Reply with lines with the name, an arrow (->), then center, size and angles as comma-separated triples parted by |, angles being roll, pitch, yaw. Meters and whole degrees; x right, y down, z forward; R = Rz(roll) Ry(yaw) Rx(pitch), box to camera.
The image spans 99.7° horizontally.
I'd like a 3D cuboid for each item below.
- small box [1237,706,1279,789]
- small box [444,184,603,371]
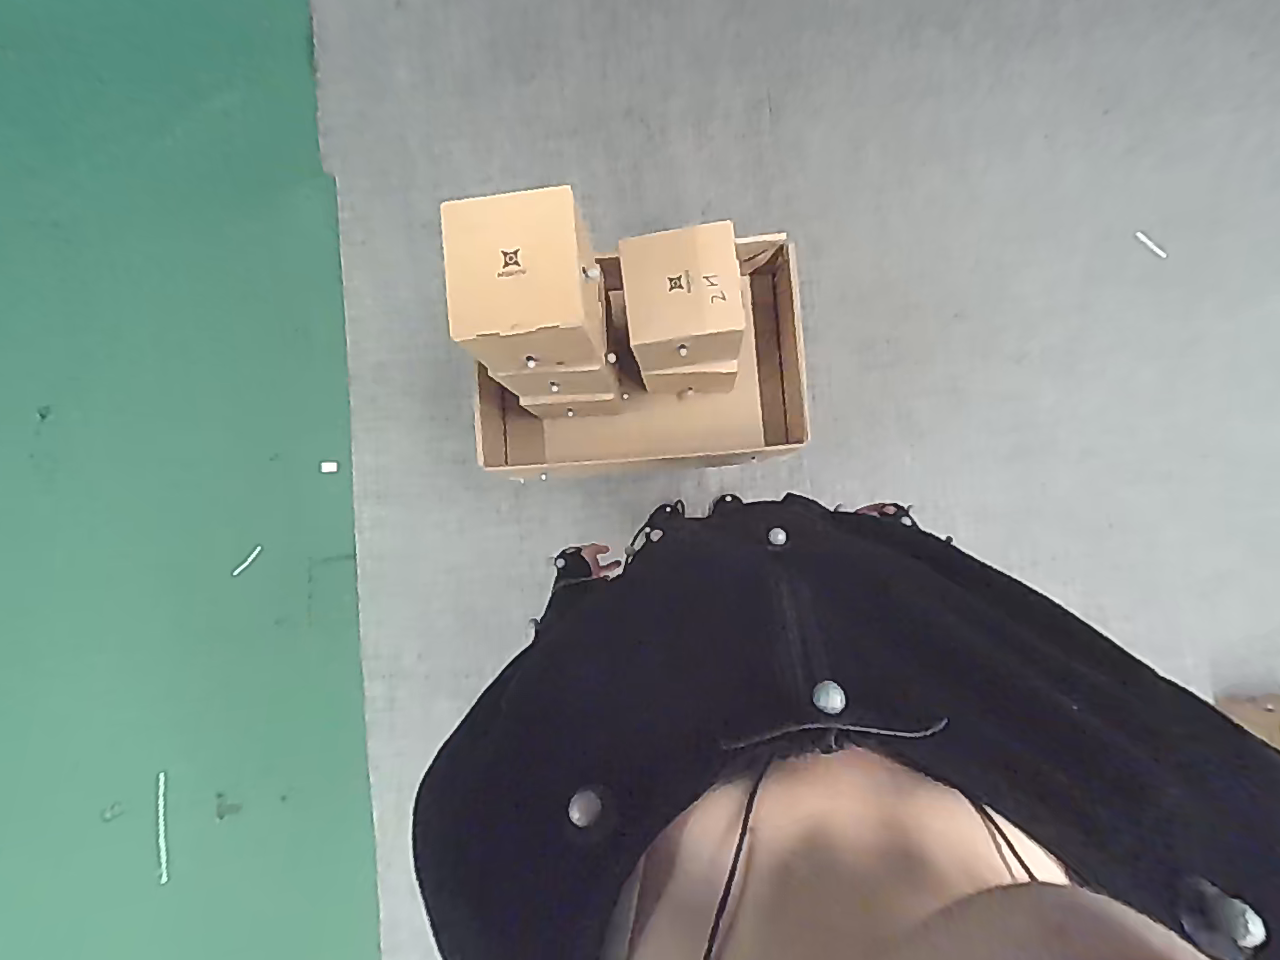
small box -> 1.566, 0.637, 1.261 | 0.168, 0.176, 0.179 | -6, 86, 5
small box -> -0.147, -0.260, 0.730 | 0.168, 0.176, 0.179 | -6, 87, 4
